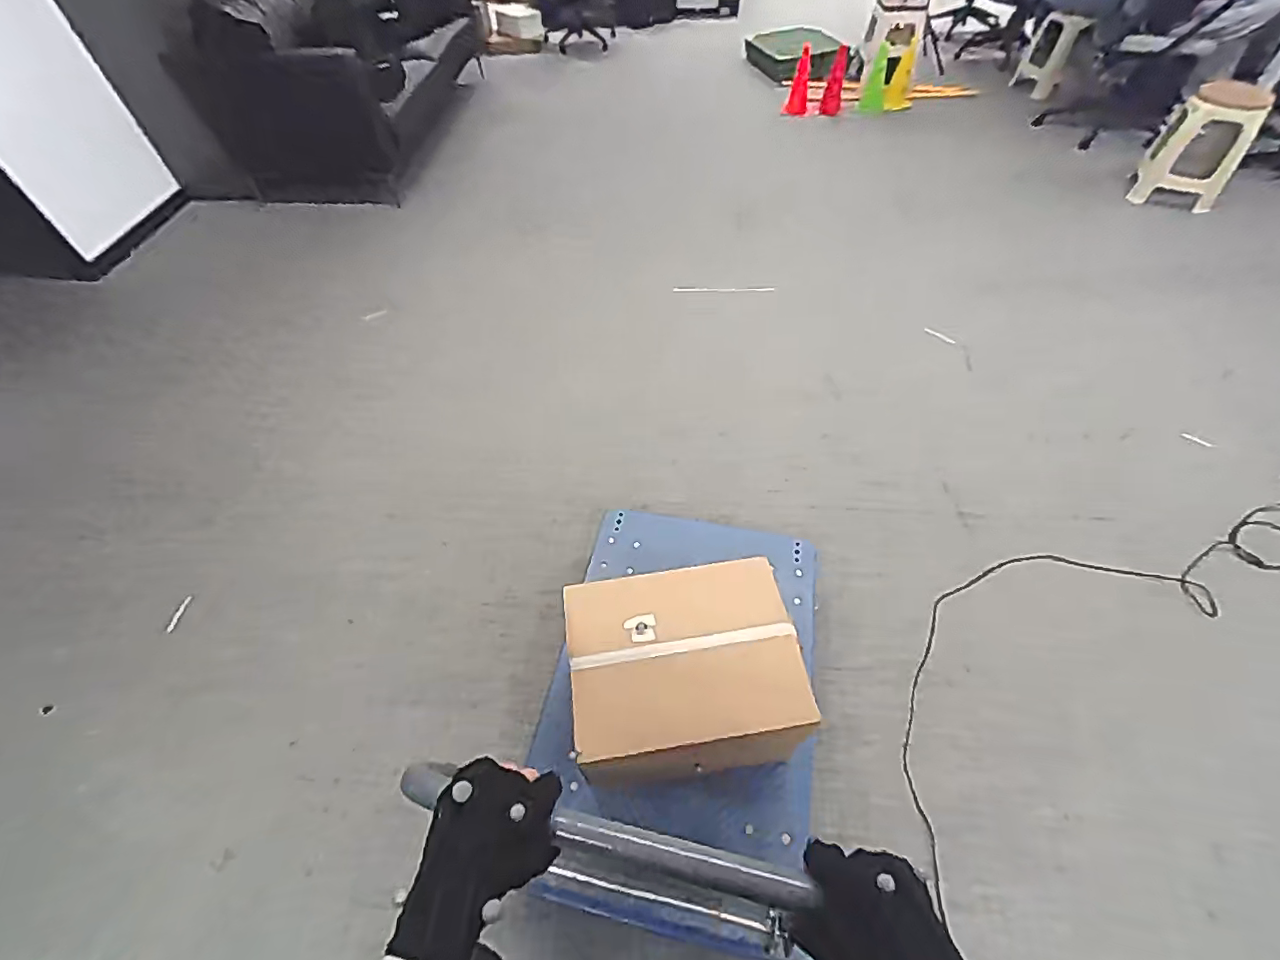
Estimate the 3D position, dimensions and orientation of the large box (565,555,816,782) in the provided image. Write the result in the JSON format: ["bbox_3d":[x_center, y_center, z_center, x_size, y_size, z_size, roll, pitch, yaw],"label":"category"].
[{"bbox_3d":[0.082,0.383,1.082,0.408,0.320,0.320,-8,52,-3],"label":"large box"}]
